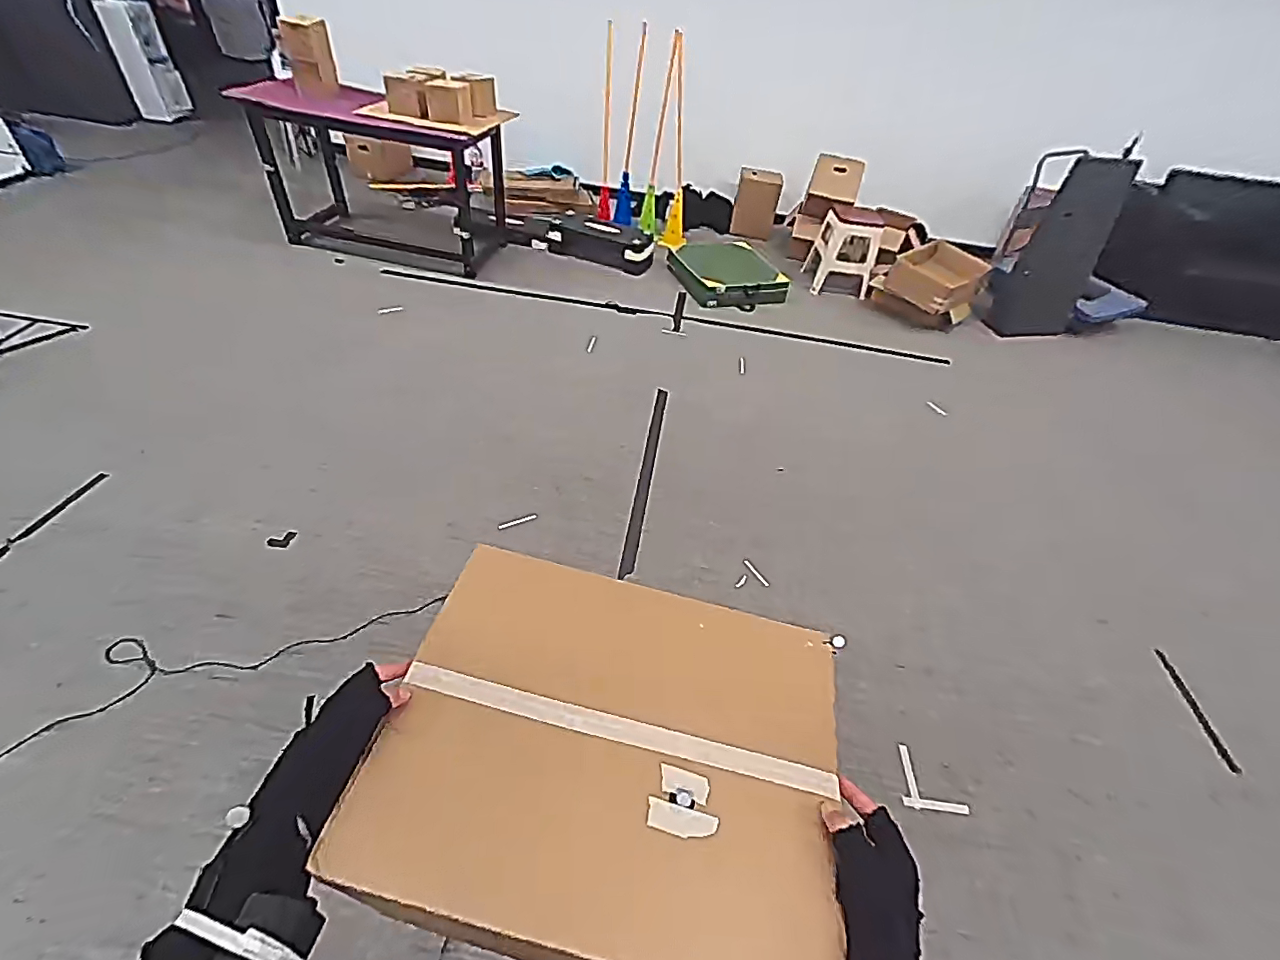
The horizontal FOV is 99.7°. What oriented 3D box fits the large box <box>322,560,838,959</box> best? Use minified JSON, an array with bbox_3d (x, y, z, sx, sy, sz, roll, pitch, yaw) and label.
[{"bbox_3d":[-0.040,0.342,0.604,0.408,0.320,0.320,15,46,3],"label":"large box"}]
